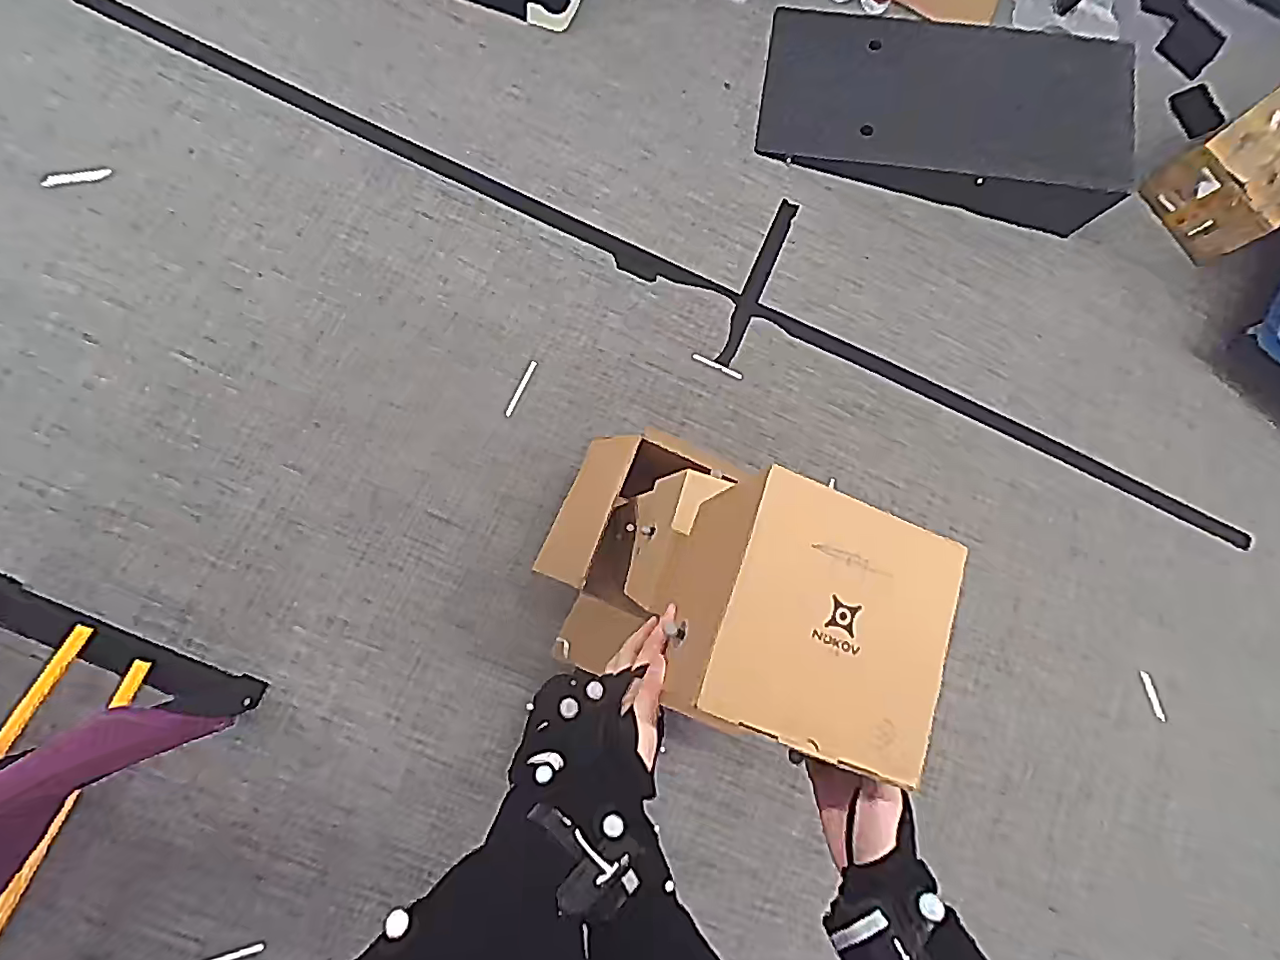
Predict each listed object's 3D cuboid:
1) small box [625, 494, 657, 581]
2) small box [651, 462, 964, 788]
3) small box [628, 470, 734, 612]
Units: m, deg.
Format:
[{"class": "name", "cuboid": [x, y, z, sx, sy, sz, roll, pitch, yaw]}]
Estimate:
[{"class": "small box", "cuboid": [0.070, 0.119, 1.018, 0.179, 0.176, 0.168, 4, 84, -11]}, {"class": "small box", "cuboid": [0.120, 0.112, 0.447, 0.168, 0.176, 0.179, 23, 74, -6]}, {"class": "small box", "cuboid": [0.095, 0.097, 0.689, 0.179, 0.176, 0.168, 18, 83, -9]}]
